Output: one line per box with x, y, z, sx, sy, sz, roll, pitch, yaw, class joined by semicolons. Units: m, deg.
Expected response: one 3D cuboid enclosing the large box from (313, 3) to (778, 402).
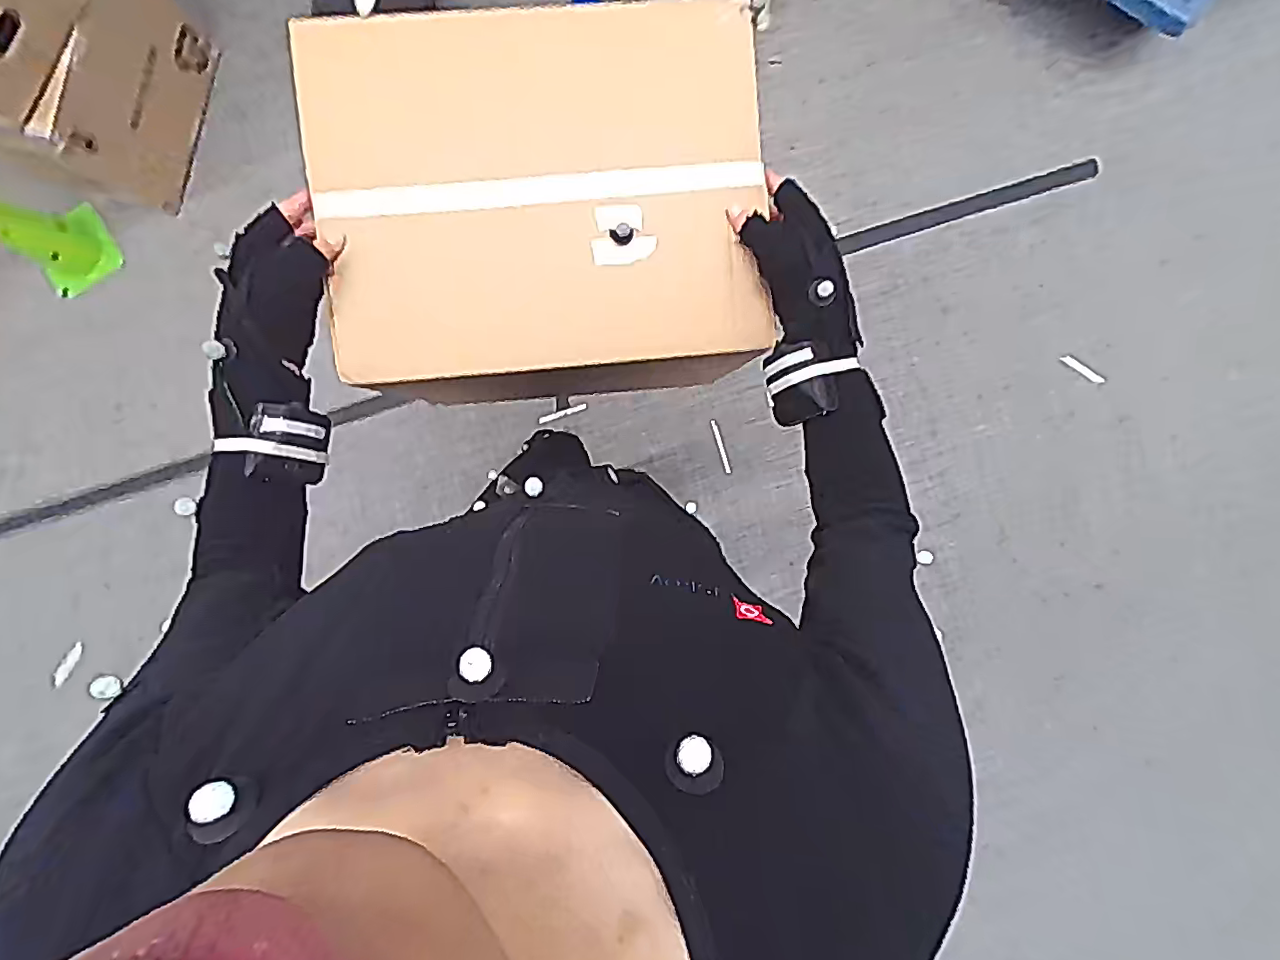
-0.089;-0.277;0.644;0.408;0.320;0.320;-5;95;-4;large box
